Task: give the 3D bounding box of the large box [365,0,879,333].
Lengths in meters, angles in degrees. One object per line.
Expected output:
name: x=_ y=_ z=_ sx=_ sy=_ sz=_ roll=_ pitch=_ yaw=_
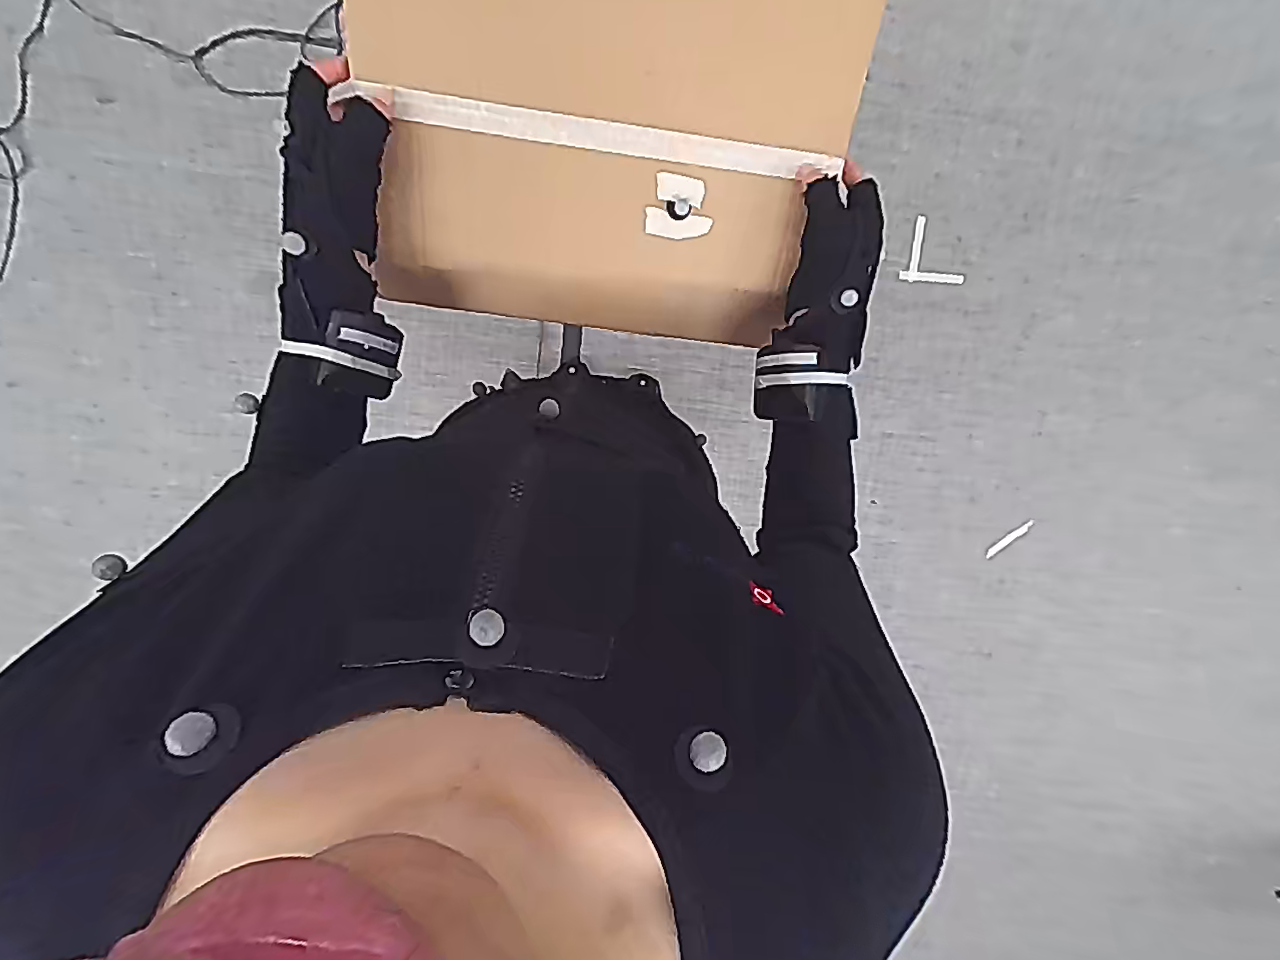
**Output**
large box: x=-0.030 y=-0.363 z=0.589 sx=0.408 sy=0.320 sz=0.320 roll=5 pitch=117 yaw=-6
